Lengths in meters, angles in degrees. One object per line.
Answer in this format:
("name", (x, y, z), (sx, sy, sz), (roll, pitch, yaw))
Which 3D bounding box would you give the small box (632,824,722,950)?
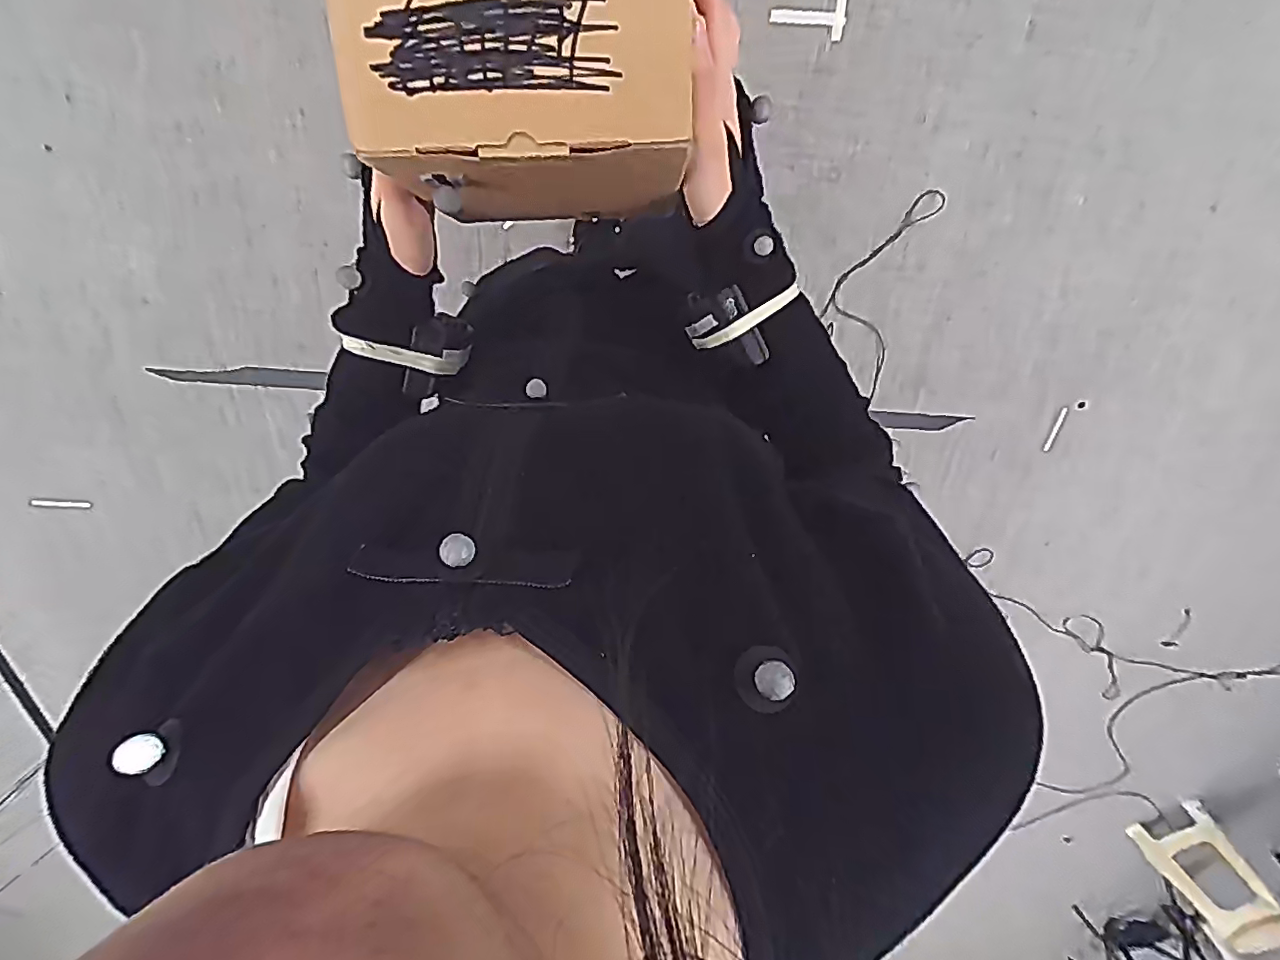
("small box", (0.072, 0.871, 1.157), (0.168, 0.176, 0.179), (0, 119, -5))

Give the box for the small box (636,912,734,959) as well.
("small box", (0.084, 0.950, 1.016), (0.179, 0.176, 0.168), (-2, 121, -4))
